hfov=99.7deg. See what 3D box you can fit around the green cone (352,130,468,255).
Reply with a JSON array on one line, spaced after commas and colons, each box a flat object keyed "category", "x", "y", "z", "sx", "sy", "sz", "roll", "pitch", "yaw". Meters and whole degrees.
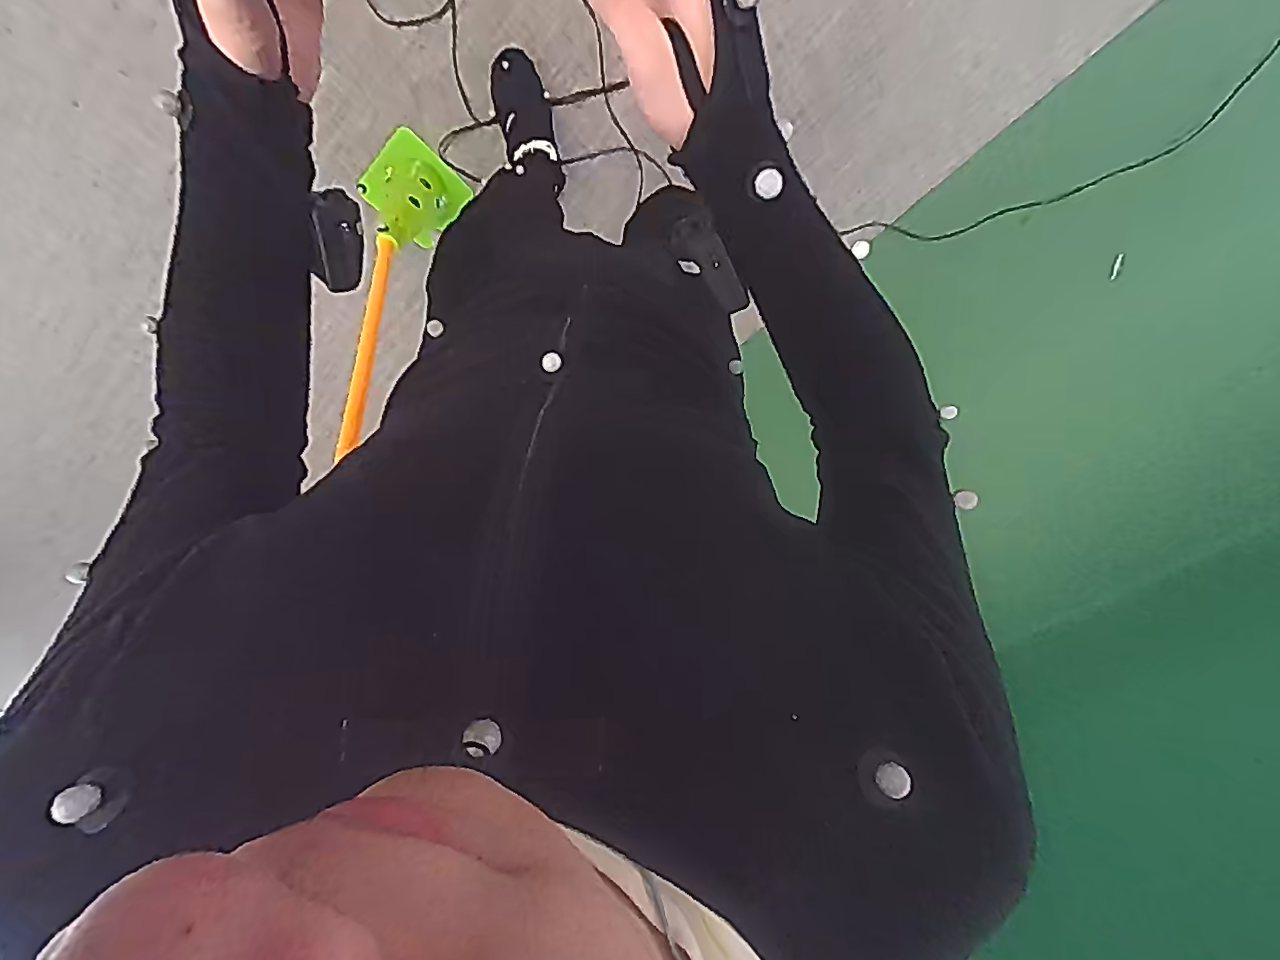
[{"category": "green cone", "x": -0.506, "y": -0.554, "z": 1.142, "sx": 0.202, "sy": 0.368, "sz": 0.200, "roll": -38, "pitch": 130, "yaw": 21}]
